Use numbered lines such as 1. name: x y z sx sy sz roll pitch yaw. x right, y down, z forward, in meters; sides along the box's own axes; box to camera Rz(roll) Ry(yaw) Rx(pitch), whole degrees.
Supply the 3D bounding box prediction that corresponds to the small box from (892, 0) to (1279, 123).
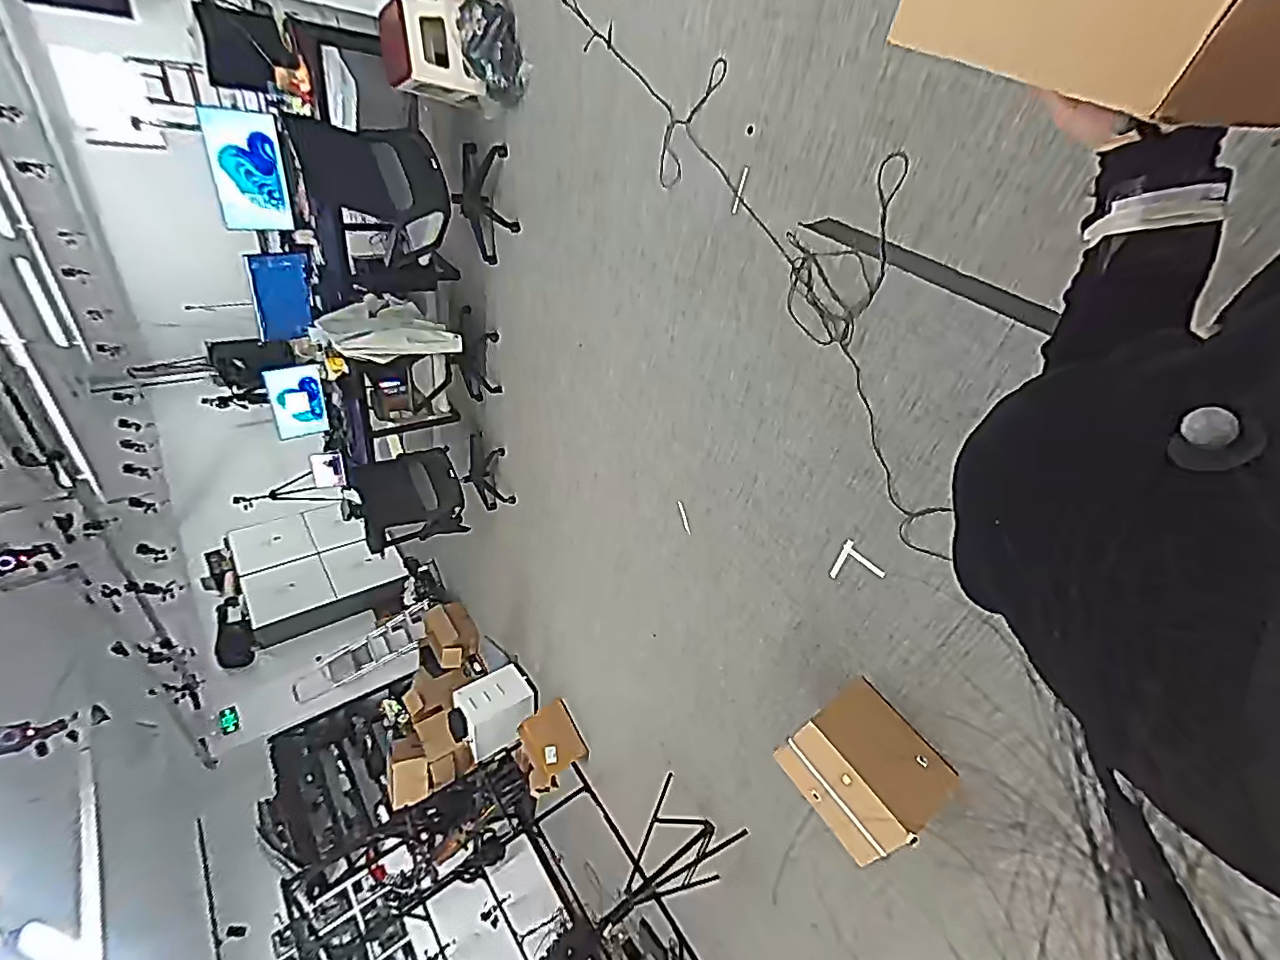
1. small box: 0.283 -0.303 0.278 0.179 0.176 0.168 55 149 35
